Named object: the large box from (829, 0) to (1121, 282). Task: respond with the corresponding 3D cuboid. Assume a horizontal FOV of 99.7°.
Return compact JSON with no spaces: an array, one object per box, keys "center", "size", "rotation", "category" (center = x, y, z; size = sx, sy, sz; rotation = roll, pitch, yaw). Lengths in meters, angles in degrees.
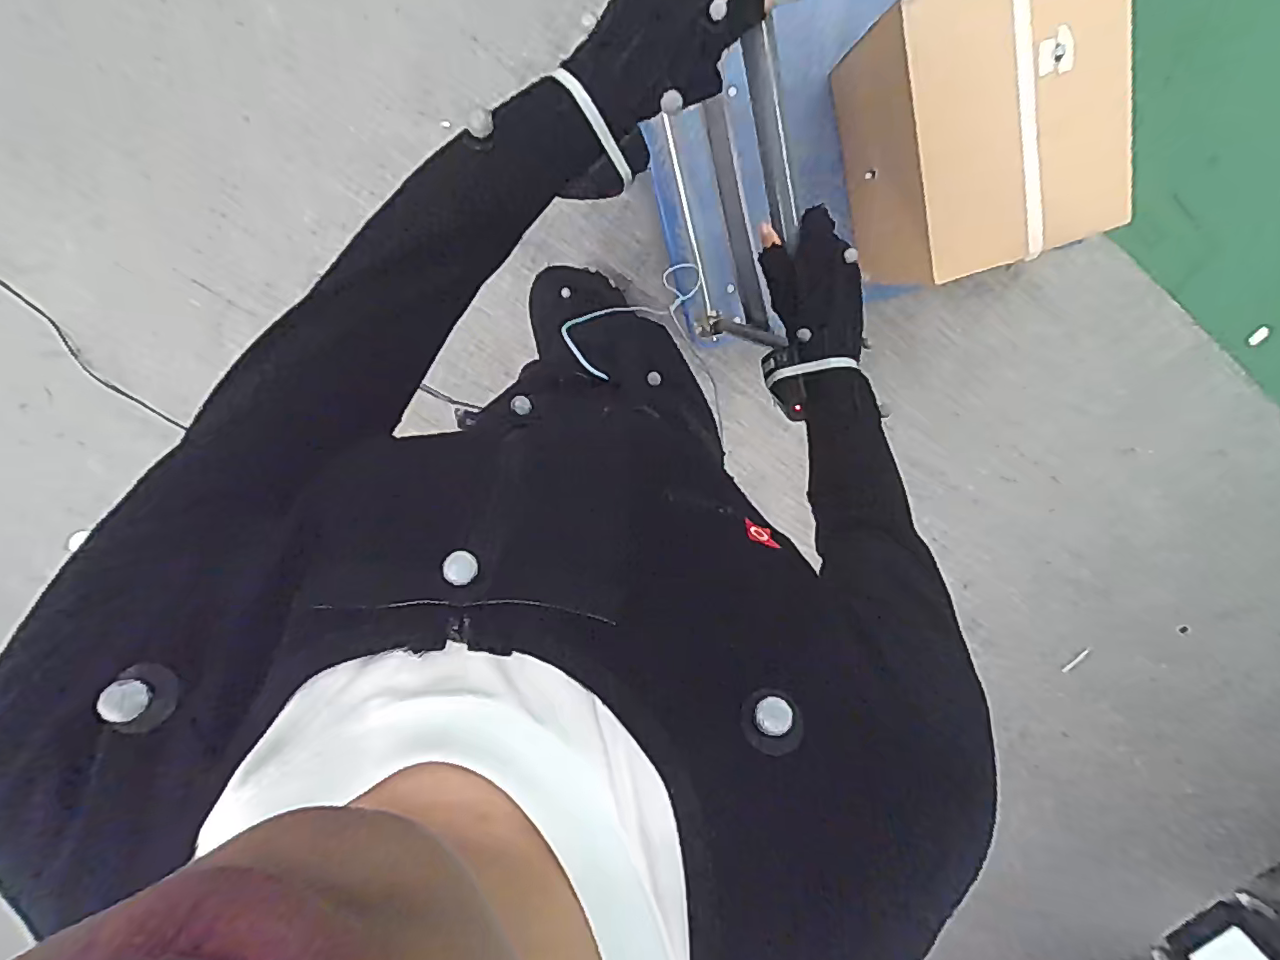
[{"center":[0.566,-0.602,0.959],"size":[0.320,0.320,0.408],"rotation":[-17,109,5],"category":"large box"}]
